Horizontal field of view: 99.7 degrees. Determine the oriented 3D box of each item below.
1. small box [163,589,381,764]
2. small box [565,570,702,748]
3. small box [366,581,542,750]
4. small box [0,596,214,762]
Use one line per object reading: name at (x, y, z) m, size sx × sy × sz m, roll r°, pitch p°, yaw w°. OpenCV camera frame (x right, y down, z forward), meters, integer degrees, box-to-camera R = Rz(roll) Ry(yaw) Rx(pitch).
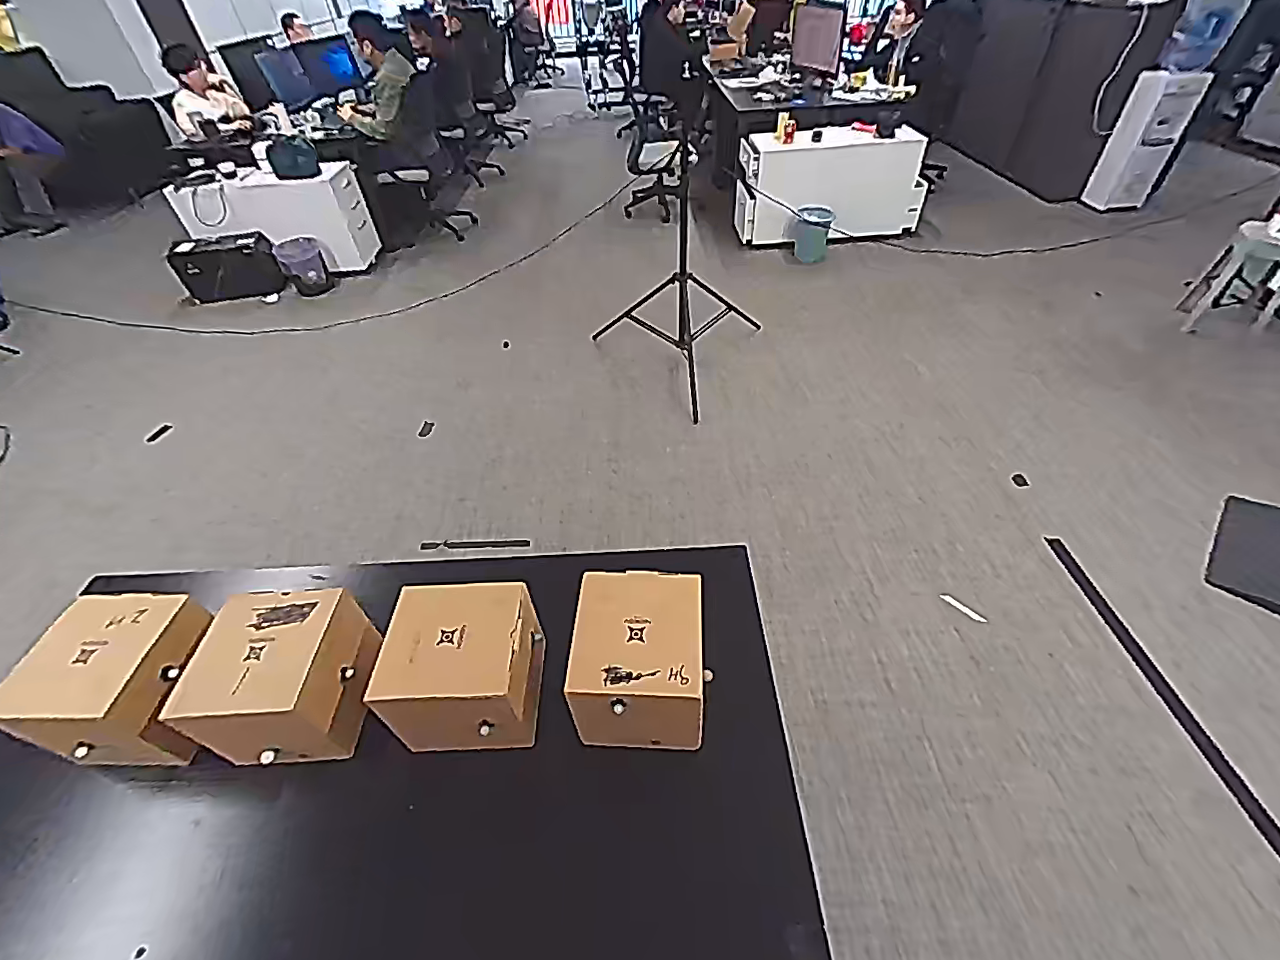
small box at (-0.489, 0.275, 0.758) m, size 0.168 × 0.176 × 0.179 m, roll -3°, pitch 46°, yaw 0°
small box at (0.000, 0.246, 0.750) m, size 0.168 × 0.176 × 0.179 m, roll 0°, pitch 44°, yaw 5°
small box at (-0.240, 0.261, 0.757) m, size 0.179 × 0.176 × 0.168 m, roll -4°, pitch 43°, yaw 1°
small box at (-0.713, 0.284, 0.767) m, size 0.168 × 0.176 × 0.179 m, roll -1°, pitch 44°, yaw 2°
